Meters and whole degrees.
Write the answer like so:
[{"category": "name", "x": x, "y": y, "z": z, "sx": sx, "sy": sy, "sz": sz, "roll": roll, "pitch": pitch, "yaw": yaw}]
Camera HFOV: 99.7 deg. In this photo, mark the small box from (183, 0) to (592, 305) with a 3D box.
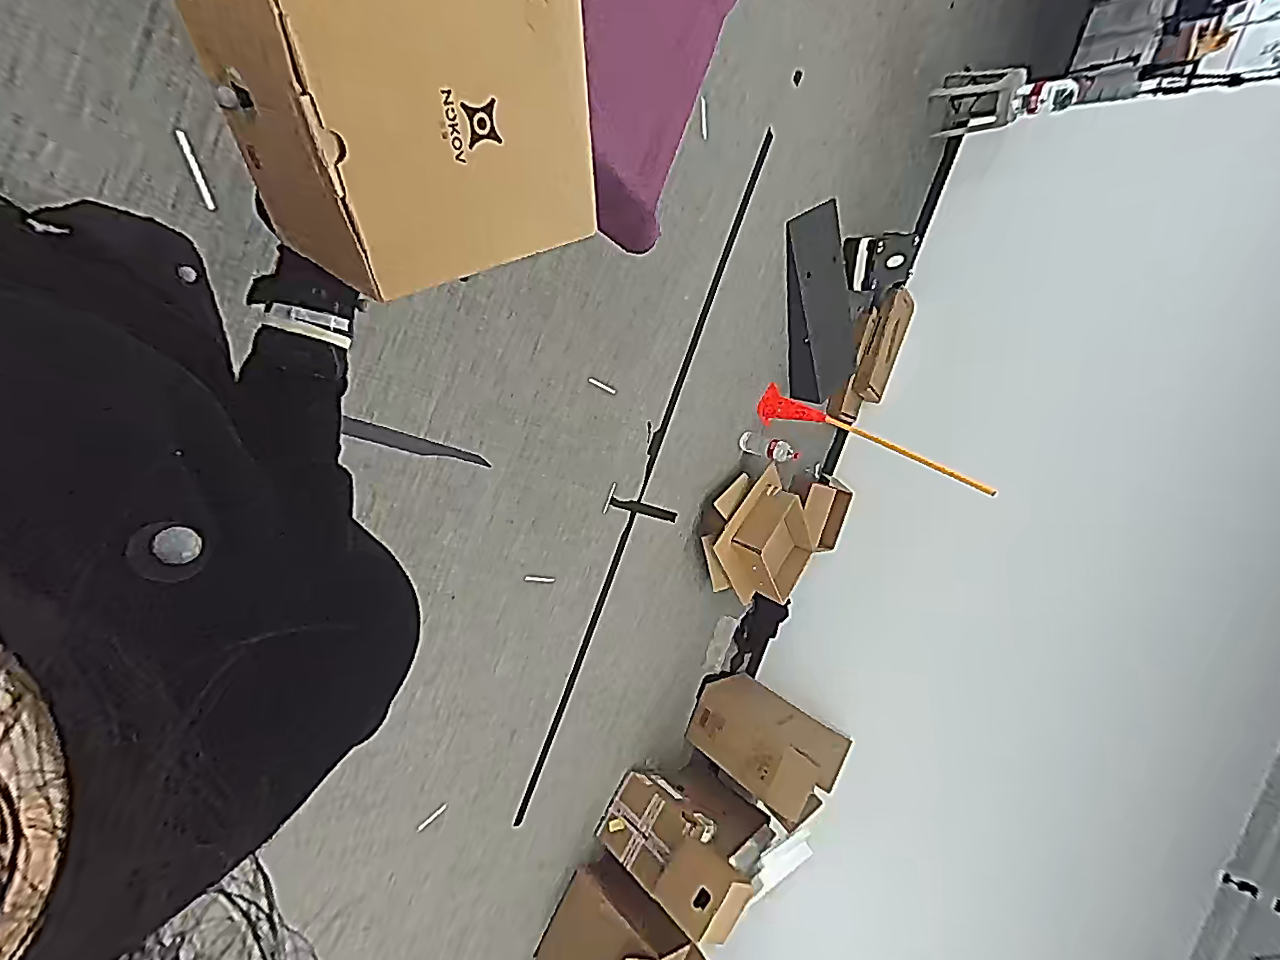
[{"category": "small box", "x": -0.156, "y": -0.246, "z": 0.367, "sx": 0.179, "sy": 0.176, "sz": 0.168, "roll": -34, "pitch": 142, "yaw": -31}]
